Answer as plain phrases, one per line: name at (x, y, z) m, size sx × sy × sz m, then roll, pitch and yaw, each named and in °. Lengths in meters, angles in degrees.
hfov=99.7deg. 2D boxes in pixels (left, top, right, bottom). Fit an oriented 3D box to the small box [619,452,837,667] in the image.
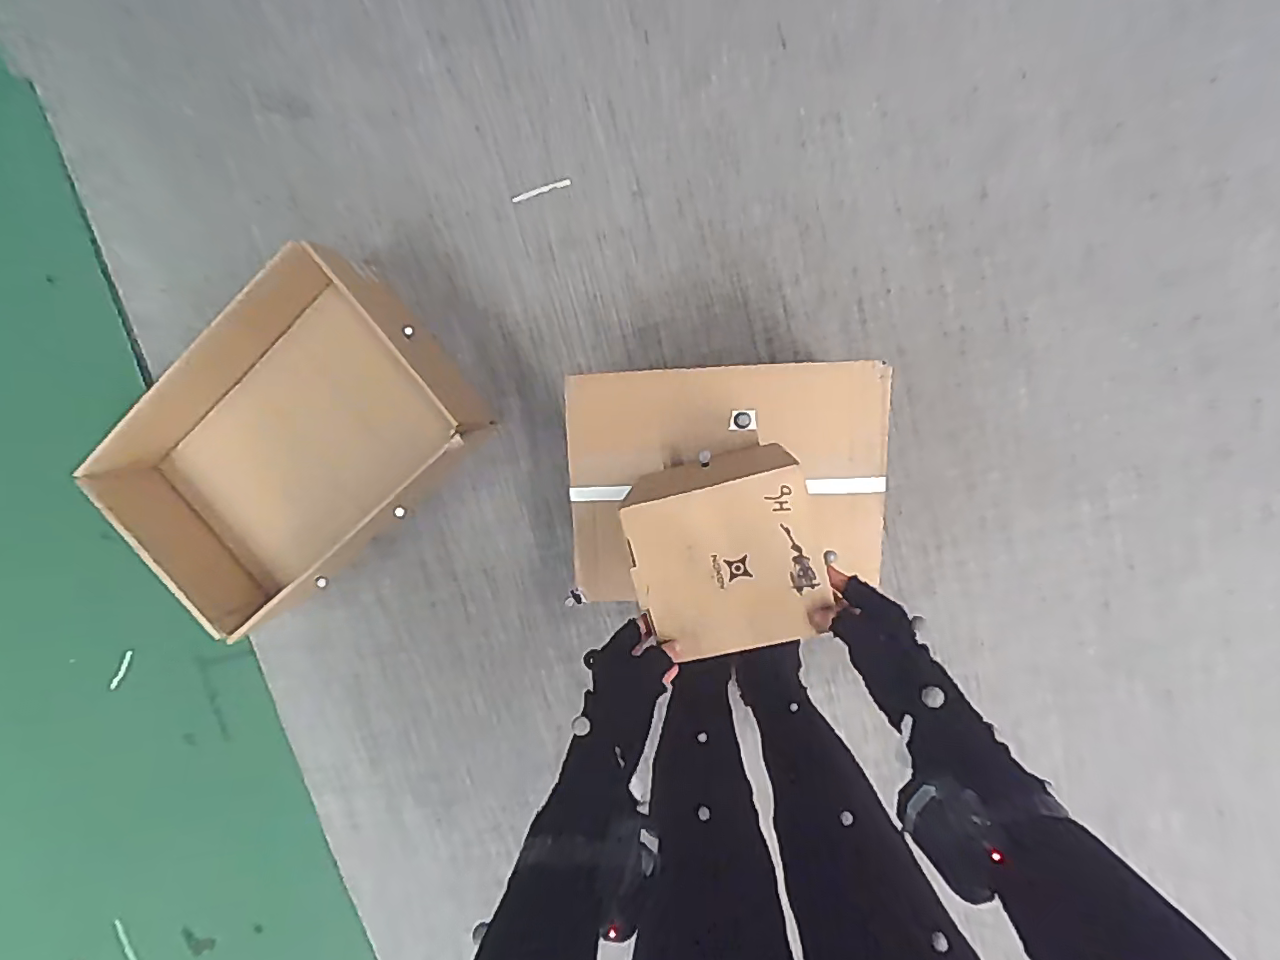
small box at (0.094, 0.074, 0.586) m, size 0.179 × 0.176 × 0.168 m, roll -14°, pitch 98°, yaw 10°
